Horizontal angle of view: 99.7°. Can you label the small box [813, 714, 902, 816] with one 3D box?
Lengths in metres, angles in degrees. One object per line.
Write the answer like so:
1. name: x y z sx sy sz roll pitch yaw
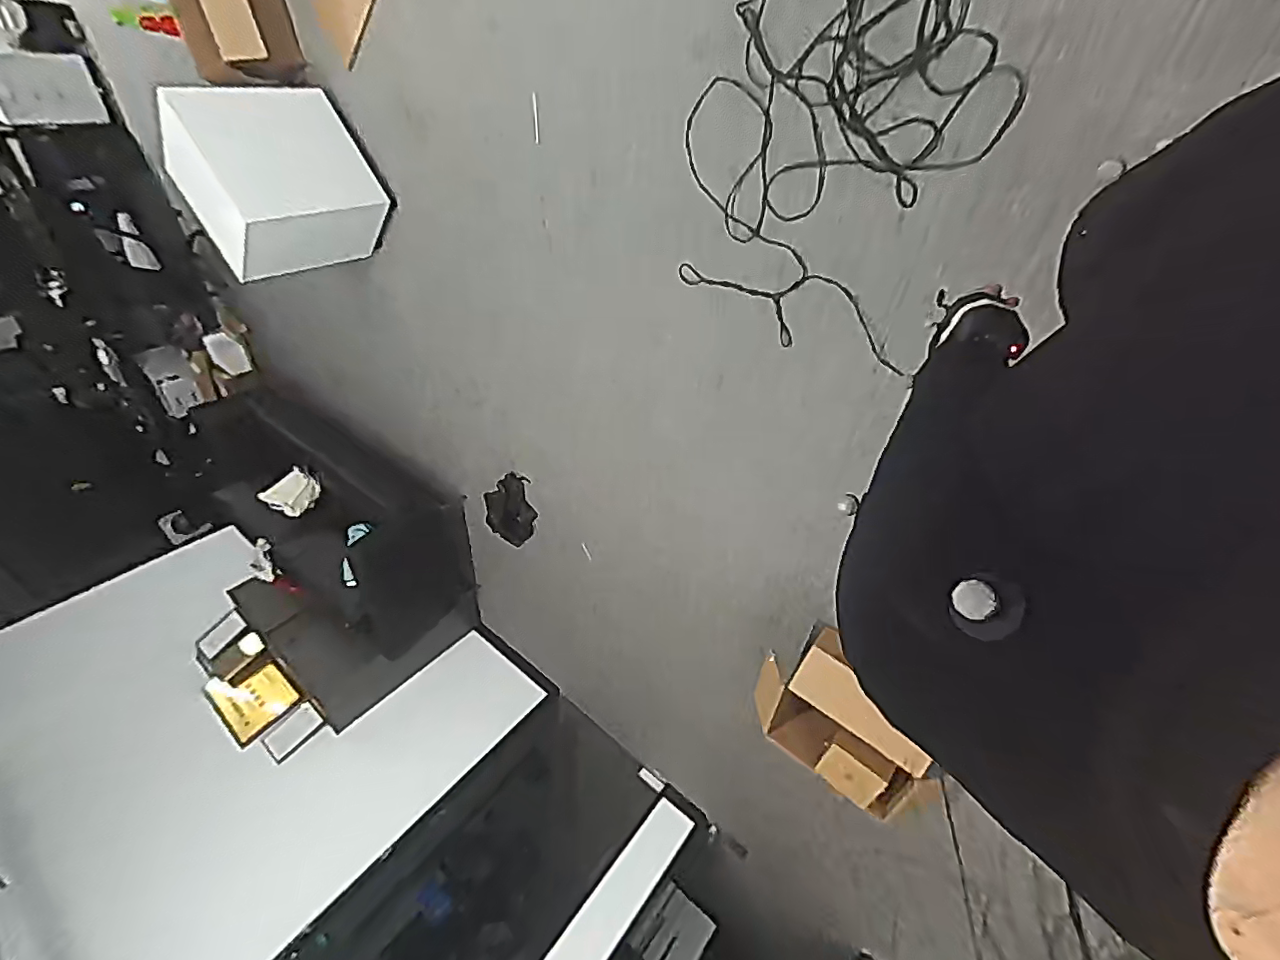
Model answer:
1. small box: 0.649 0.844 1.608 0.168 0.176 0.179 33 132 27
